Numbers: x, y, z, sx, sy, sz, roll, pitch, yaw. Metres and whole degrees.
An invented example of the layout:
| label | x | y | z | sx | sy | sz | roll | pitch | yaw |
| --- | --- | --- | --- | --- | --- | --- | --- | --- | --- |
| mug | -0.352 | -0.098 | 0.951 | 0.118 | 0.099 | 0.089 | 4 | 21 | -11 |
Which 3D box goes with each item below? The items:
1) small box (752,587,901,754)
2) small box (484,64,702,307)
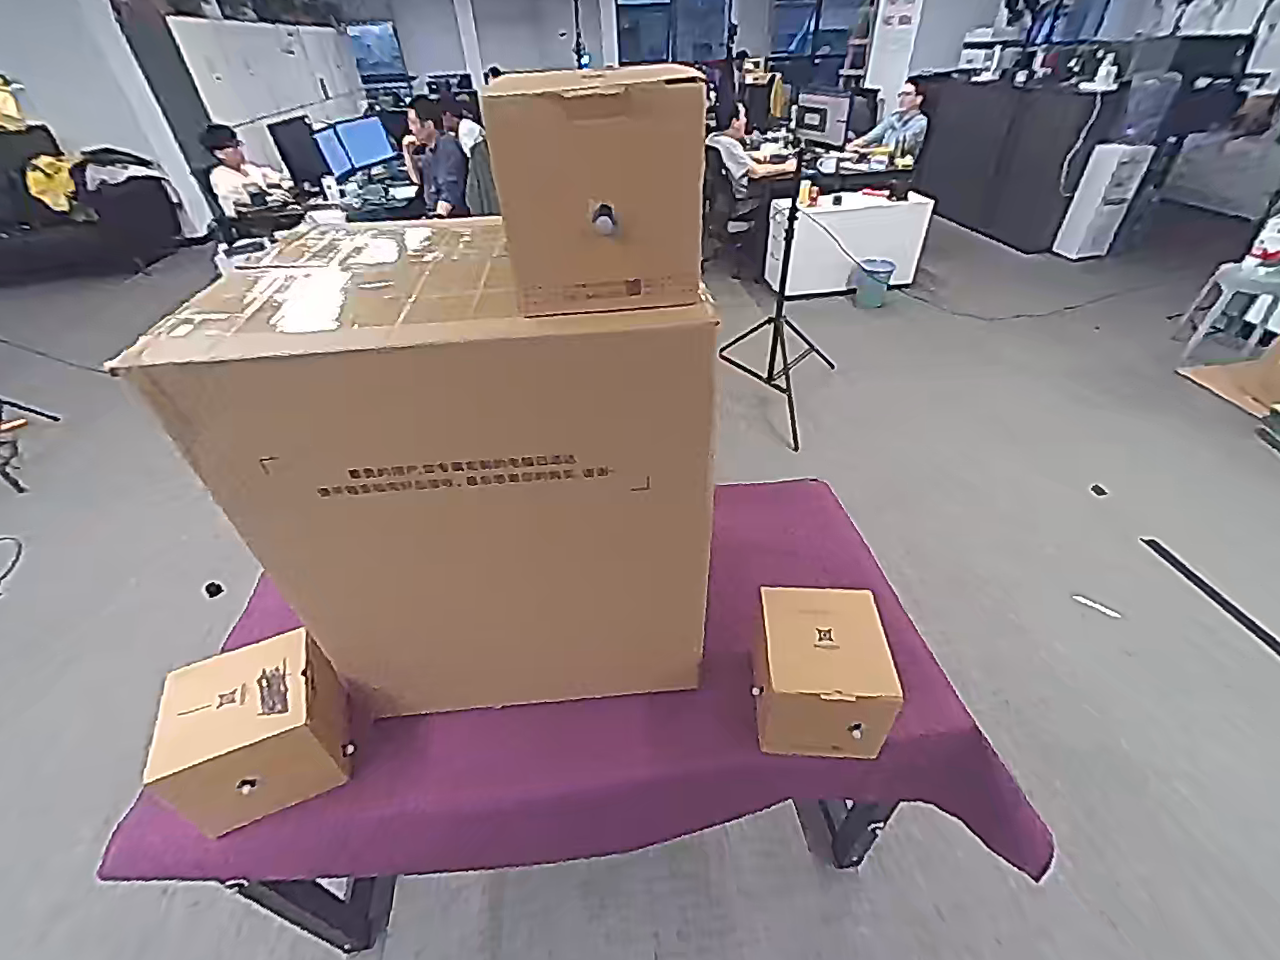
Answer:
| label | x | y | z | sx | sy | sz | roll | pitch | yaw |
| --- | --- | --- | --- | --- | --- | --- | --- | --- | --- |
| small box | 0.260 | 0.281 | 0.800 | 0.168 | 0.176 | 0.179 | 1 | 38 | 4 |
| small box | -0.035 | -0.272 | 0.507 | 0.168 | 0.176 | 0.179 | -6 | 41 | -2 |
